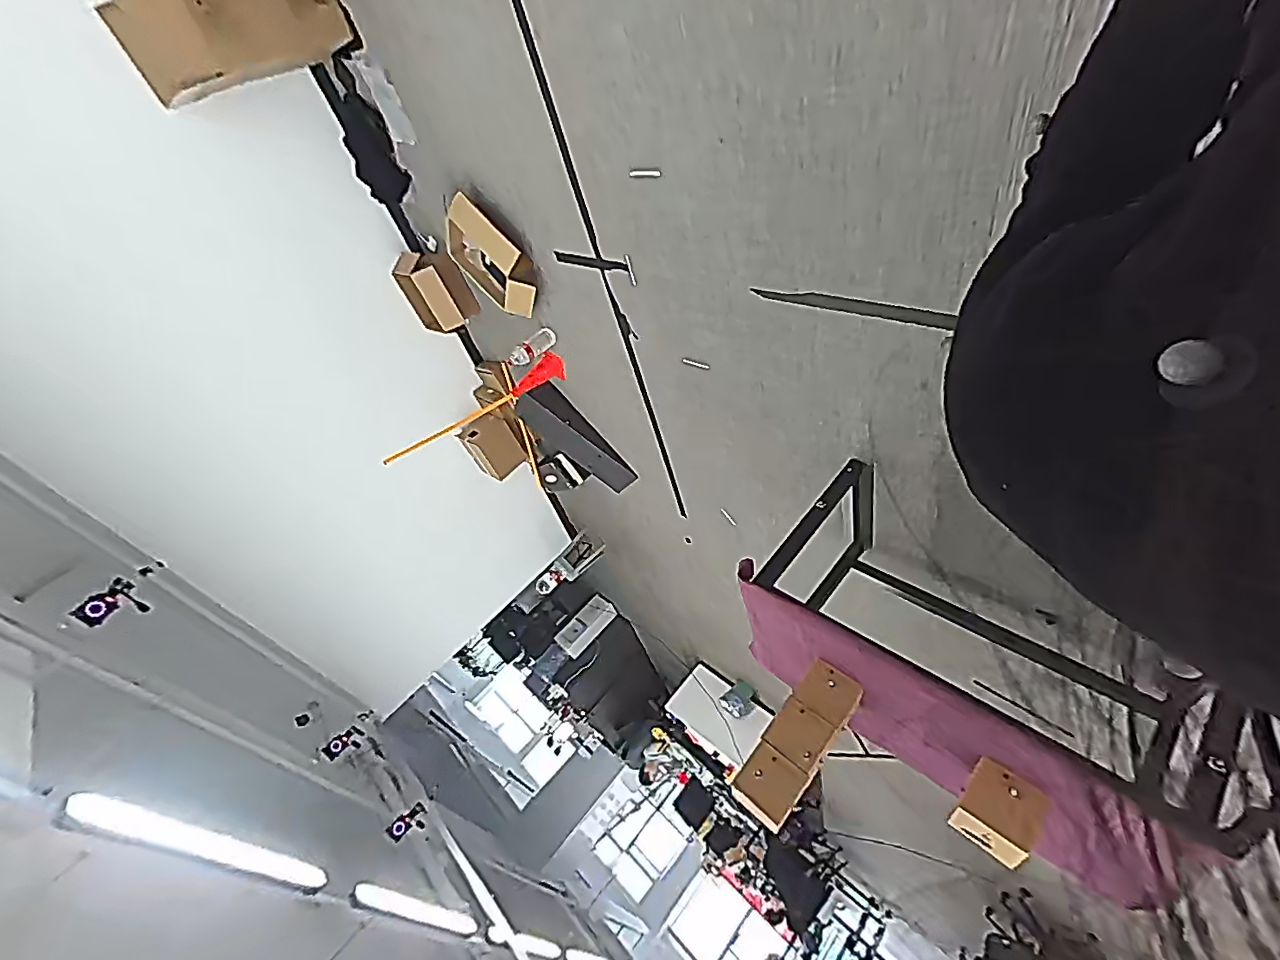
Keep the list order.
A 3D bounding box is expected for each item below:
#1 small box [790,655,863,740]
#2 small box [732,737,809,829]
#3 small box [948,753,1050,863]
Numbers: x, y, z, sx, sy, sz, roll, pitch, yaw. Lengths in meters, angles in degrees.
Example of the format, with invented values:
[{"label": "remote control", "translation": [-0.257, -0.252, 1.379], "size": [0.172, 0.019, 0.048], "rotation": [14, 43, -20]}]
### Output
[{"label": "small box", "translation": [0.616, 0.717, 1.788], "size": [0.168, 0.176, 0.179], "rotation": [29, 152, 33]}, {"label": "small box", "translation": [0.400, 0.923, 1.655], "size": [0.168, 0.176, 0.179], "rotation": [32, 155, 33]}, {"label": "small box", "translation": [0.964, 0.878, 1.455], "size": [0.168, 0.176, 0.179], "rotation": [28, 150, 37]}]
